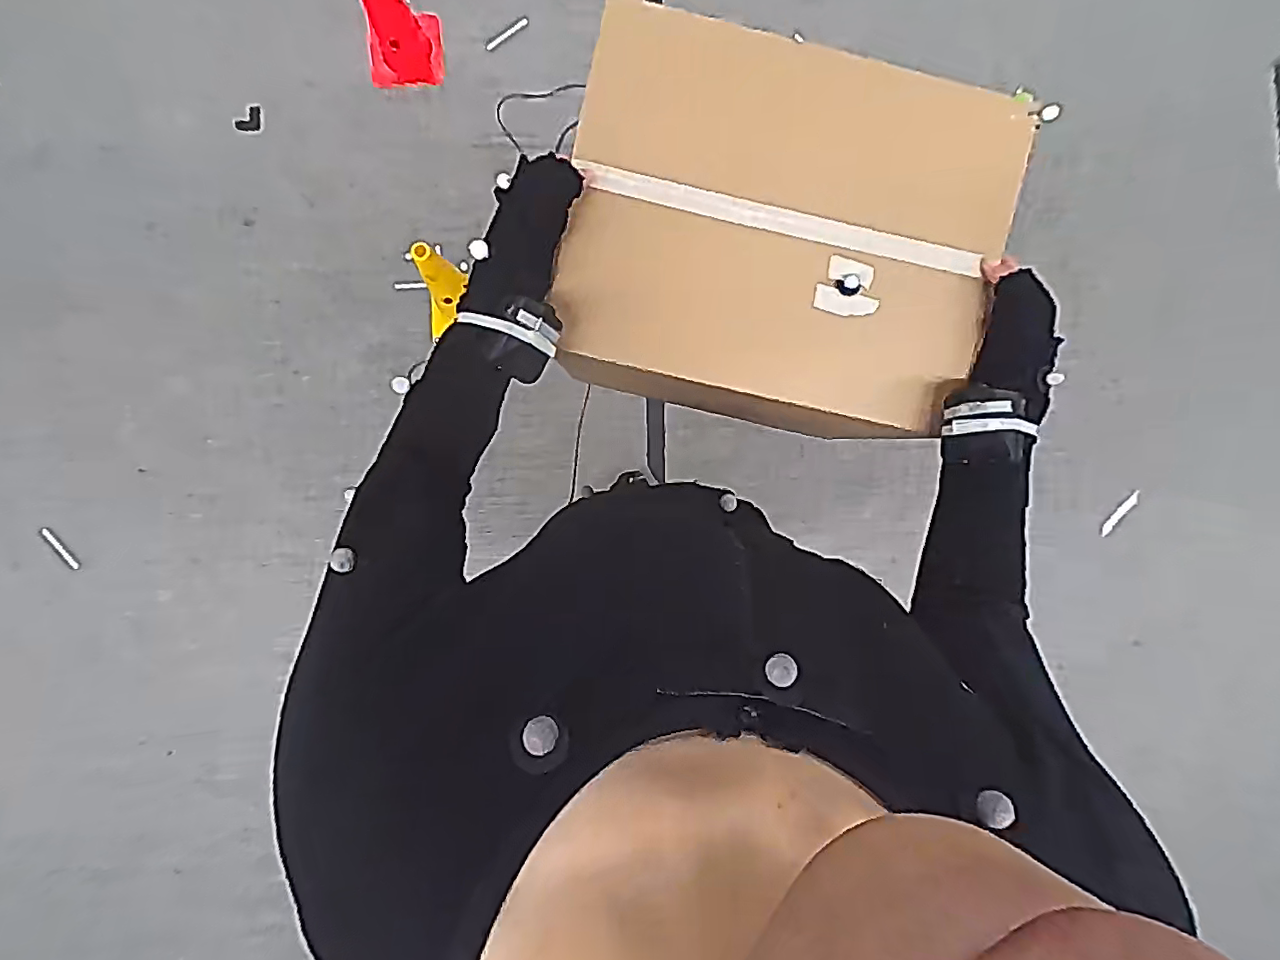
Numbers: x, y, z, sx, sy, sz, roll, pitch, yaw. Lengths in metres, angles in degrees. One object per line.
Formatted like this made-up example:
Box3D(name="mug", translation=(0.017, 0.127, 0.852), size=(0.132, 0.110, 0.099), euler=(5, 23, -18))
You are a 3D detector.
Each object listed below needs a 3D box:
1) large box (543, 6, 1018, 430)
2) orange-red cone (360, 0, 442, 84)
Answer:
Box3D(name="large box", translation=(0.124, -0.250, 0.648), size=(0.408, 0.320, 0.320), euler=(12, 94, -3))
Box3D(name="orange-red cone", translation=(-0.651, -1.204, 1.333), size=(0.198, 0.360, 0.199), euler=(-4, 90, -1))
